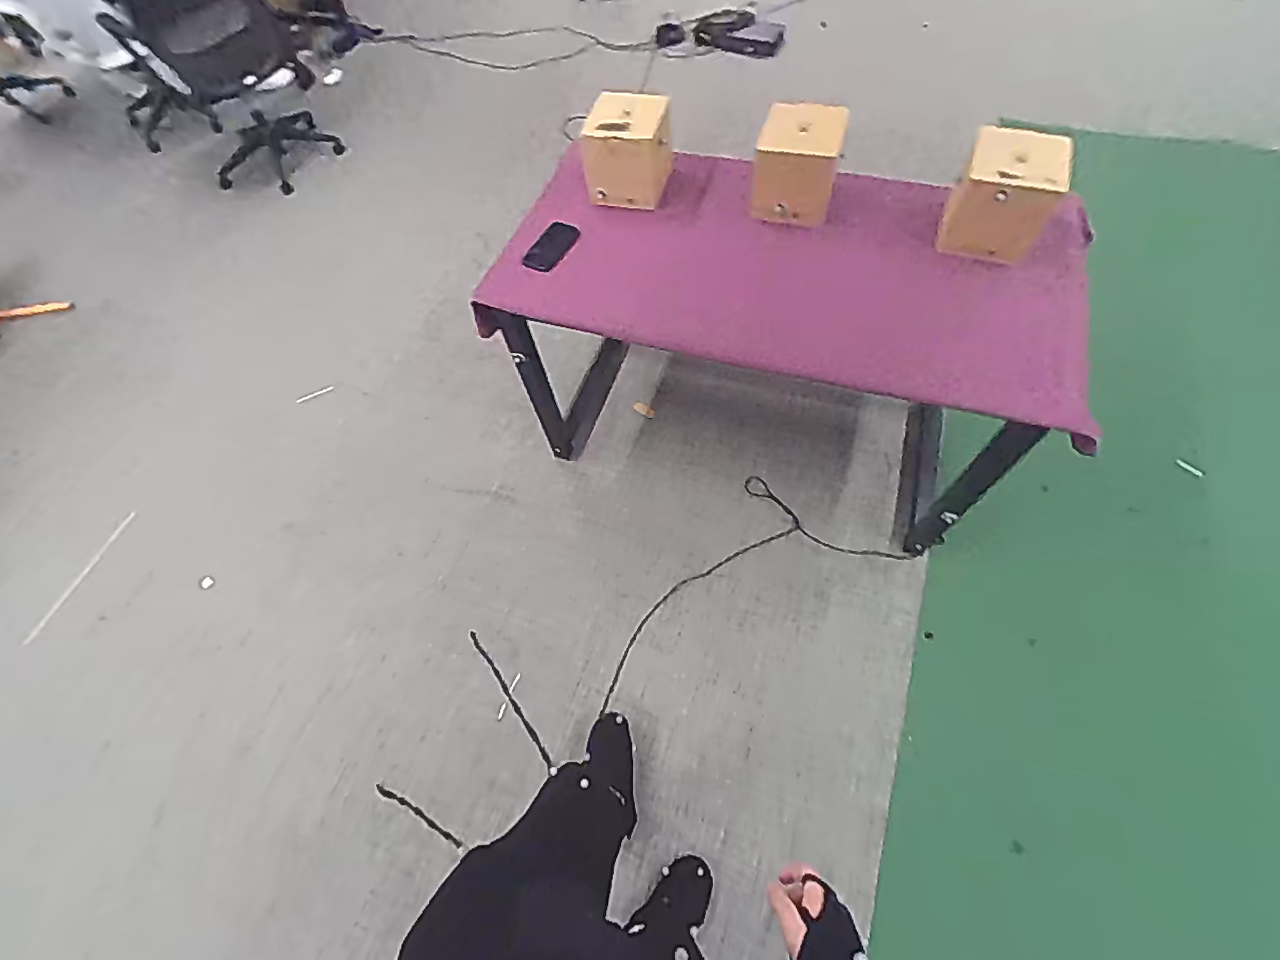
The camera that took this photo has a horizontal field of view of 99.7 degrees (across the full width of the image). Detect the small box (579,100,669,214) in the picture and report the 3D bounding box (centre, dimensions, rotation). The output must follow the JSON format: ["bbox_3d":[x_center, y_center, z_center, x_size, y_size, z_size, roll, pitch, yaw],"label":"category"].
[{"bbox_3d":[-0.027,-0.757,1.275,0.168,0.176,0.179,12,62,11],"label":"small box"}]

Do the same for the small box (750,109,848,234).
[{"bbox_3d":[0.346,-0.682,1.199,0.168,0.176,0.179,14,64,14],"label":"small box"}]

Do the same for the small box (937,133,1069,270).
[{"bbox_3d":[0.724,-0.559,1.091,0.168,0.176,0.179,17,64,16],"label":"small box"}]
